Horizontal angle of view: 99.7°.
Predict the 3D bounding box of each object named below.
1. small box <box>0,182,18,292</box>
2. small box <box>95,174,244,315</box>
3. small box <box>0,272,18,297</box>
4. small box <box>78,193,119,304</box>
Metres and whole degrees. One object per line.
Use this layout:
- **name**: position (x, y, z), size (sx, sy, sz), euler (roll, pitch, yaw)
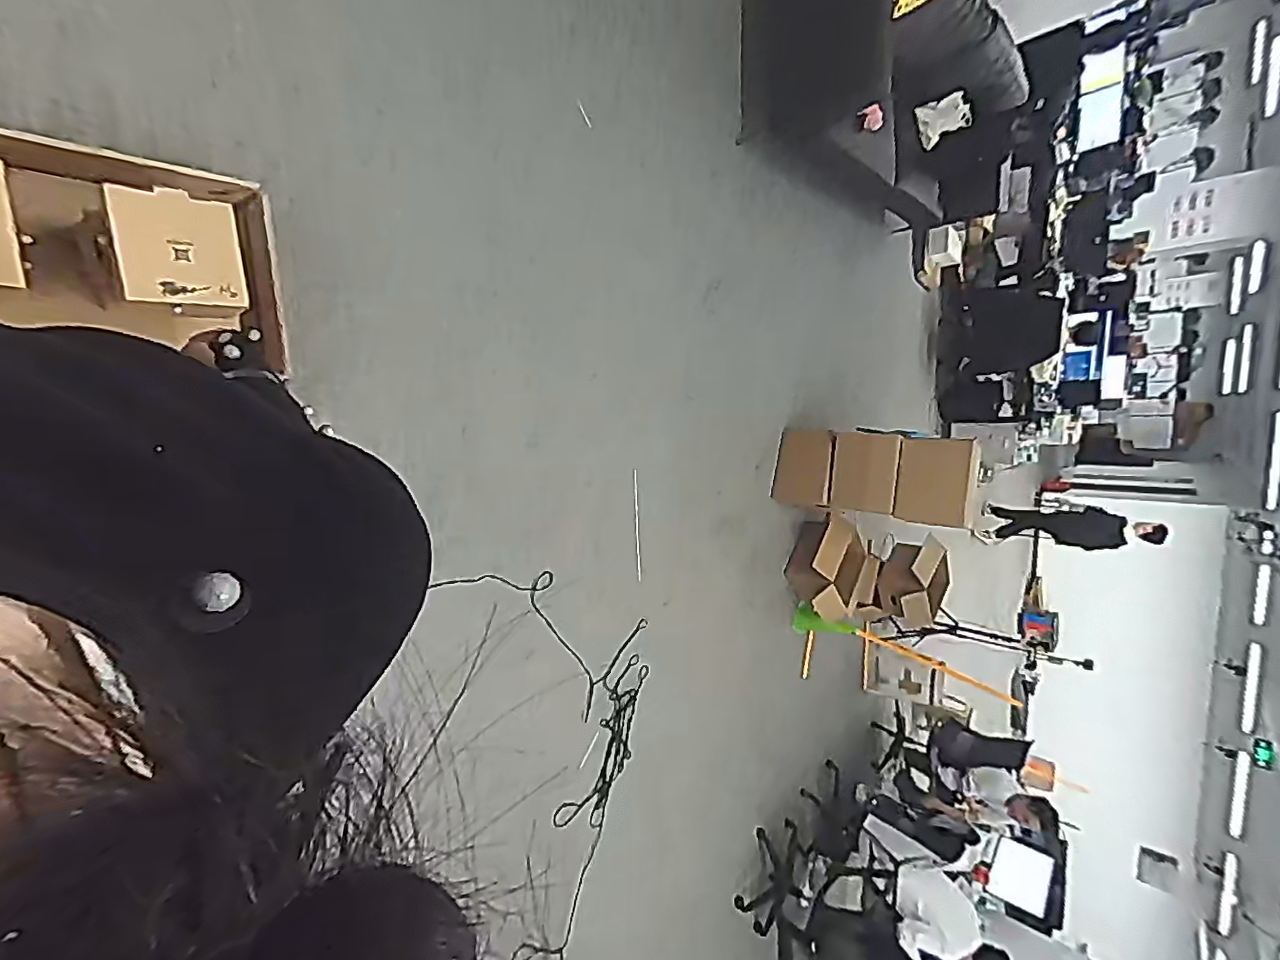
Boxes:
- **small box**: position (-1.002, -0.367, 0.750), size (0.168, 0.176, 0.179), euler (-10, 103, -48)
- **small box**: position (-0.820, -0.396, 0.943), size (0.168, 0.176, 0.179), euler (-12, 103, -45)
- **small box**: position (-1.130, -0.388, 0.851), size (0.179, 0.176, 0.168), euler (-16, 107, -48)
- **small box**: position (-0.945, -0.432, 1.044), size (0.179, 0.176, 0.168), euler (-17, 108, -46)
